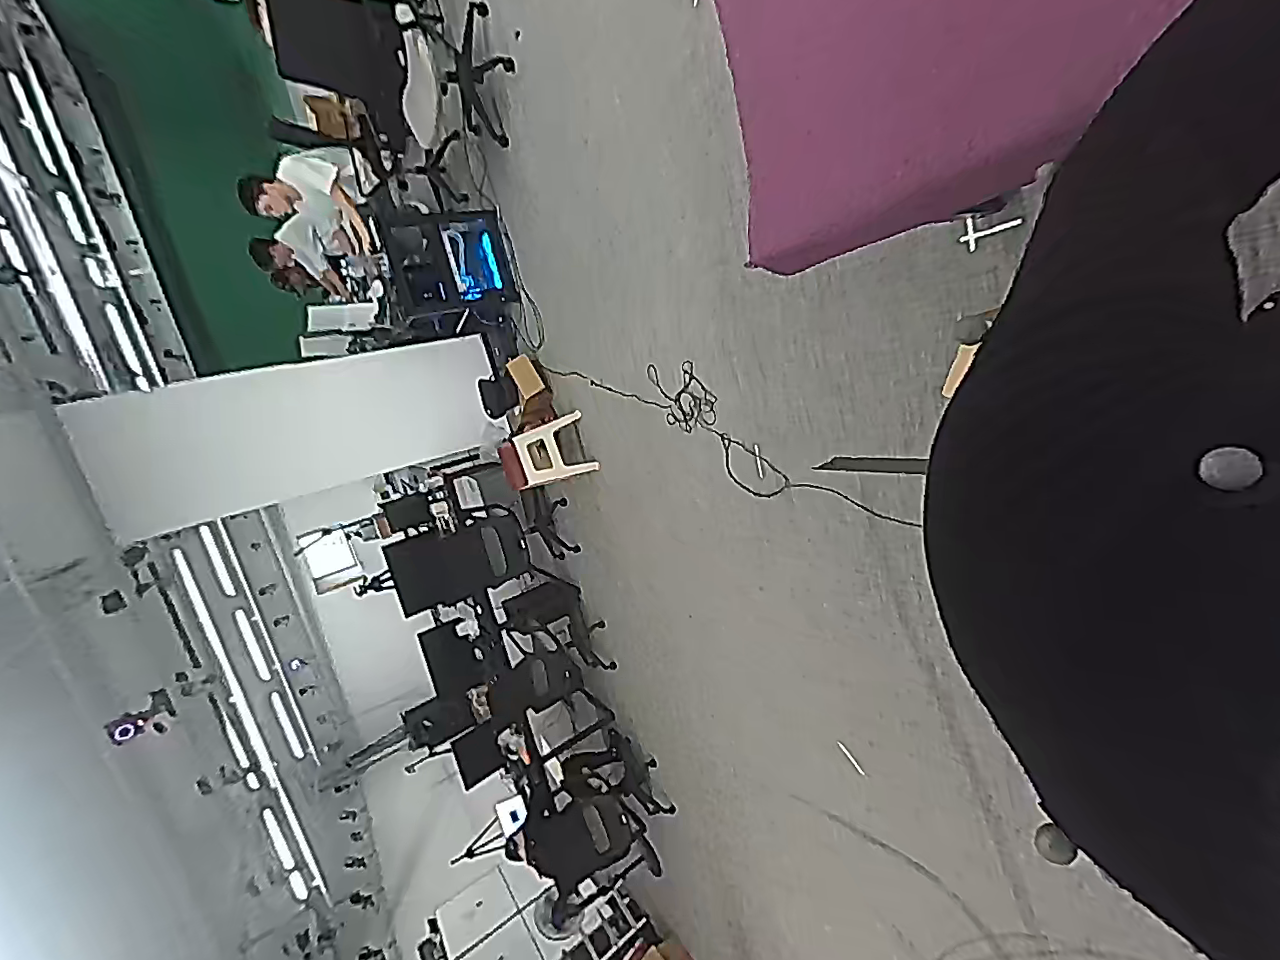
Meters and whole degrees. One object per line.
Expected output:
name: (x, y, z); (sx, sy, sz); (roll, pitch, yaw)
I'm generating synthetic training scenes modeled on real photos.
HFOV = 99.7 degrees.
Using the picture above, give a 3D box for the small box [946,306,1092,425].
small box: (0.775, -0.242, 1.105); (0.168, 0.176, 0.179); (39, 139, 41)
